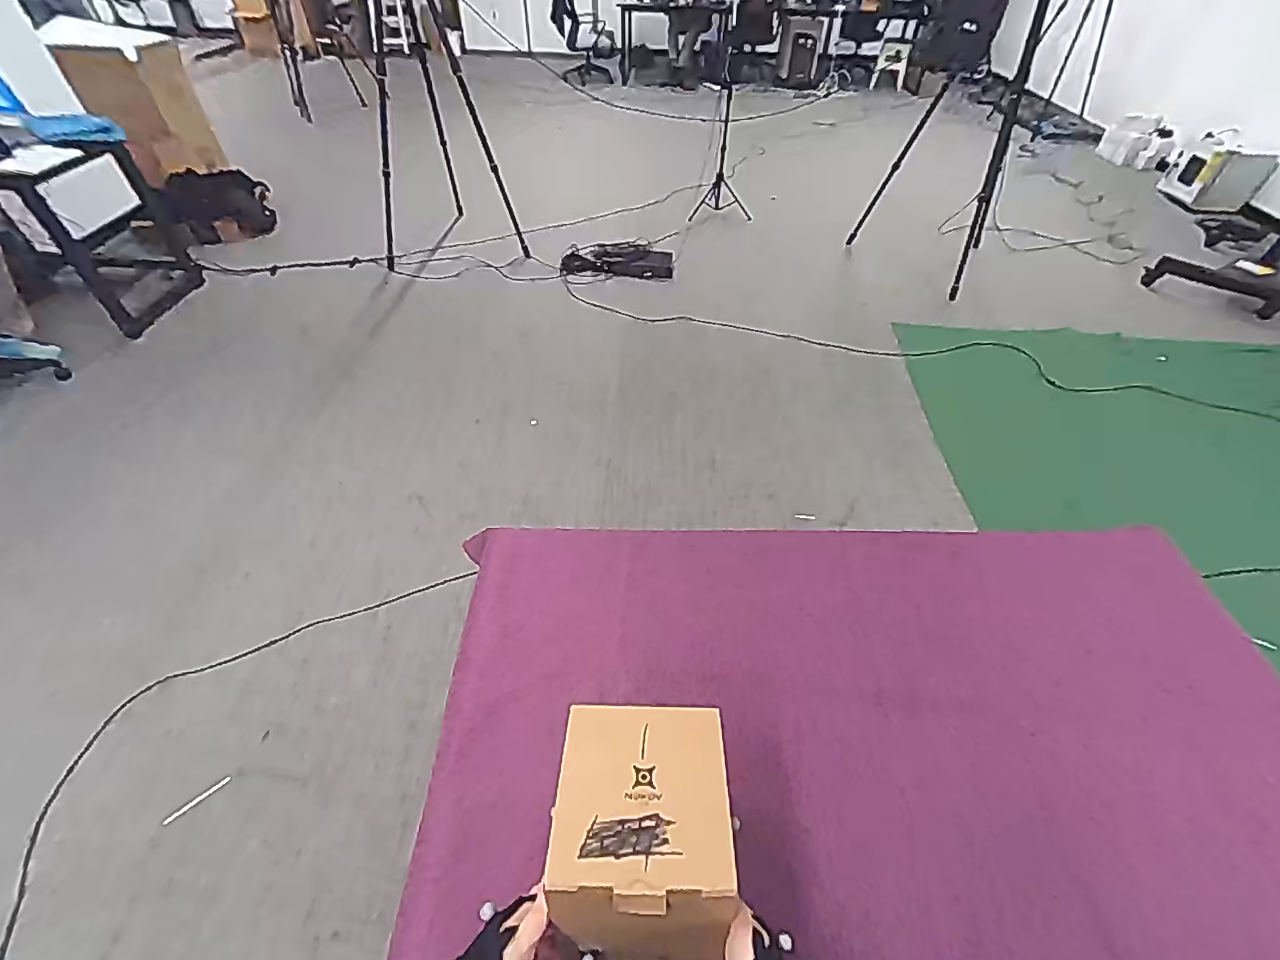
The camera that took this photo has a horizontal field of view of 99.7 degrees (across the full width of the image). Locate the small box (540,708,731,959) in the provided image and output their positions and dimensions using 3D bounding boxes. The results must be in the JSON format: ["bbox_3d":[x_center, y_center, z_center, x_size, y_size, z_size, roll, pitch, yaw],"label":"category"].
[{"bbox_3d":[0.001,0.366,0.563,0.168,0.176,0.179,1,32,2],"label":"small box"}]
